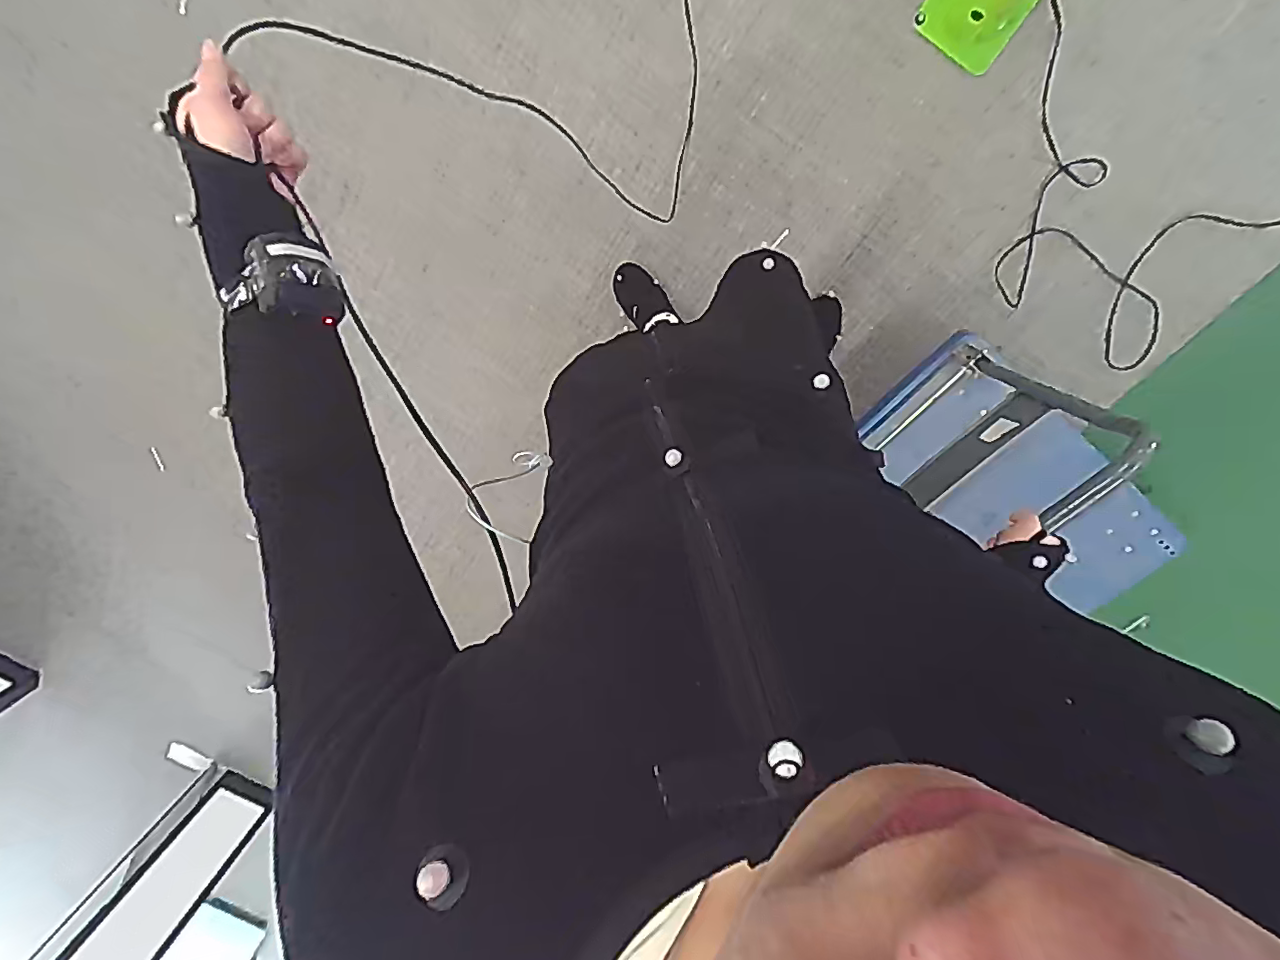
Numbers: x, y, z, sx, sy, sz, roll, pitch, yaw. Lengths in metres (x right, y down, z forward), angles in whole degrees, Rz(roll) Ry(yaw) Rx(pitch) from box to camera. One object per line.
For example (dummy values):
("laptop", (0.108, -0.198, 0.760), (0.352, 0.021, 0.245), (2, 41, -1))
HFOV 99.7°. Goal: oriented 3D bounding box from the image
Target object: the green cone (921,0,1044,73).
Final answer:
("green cone", (0.708, -0.937, 0.976), (0.200, 0.368, 0.202), (31, 113, -7))
